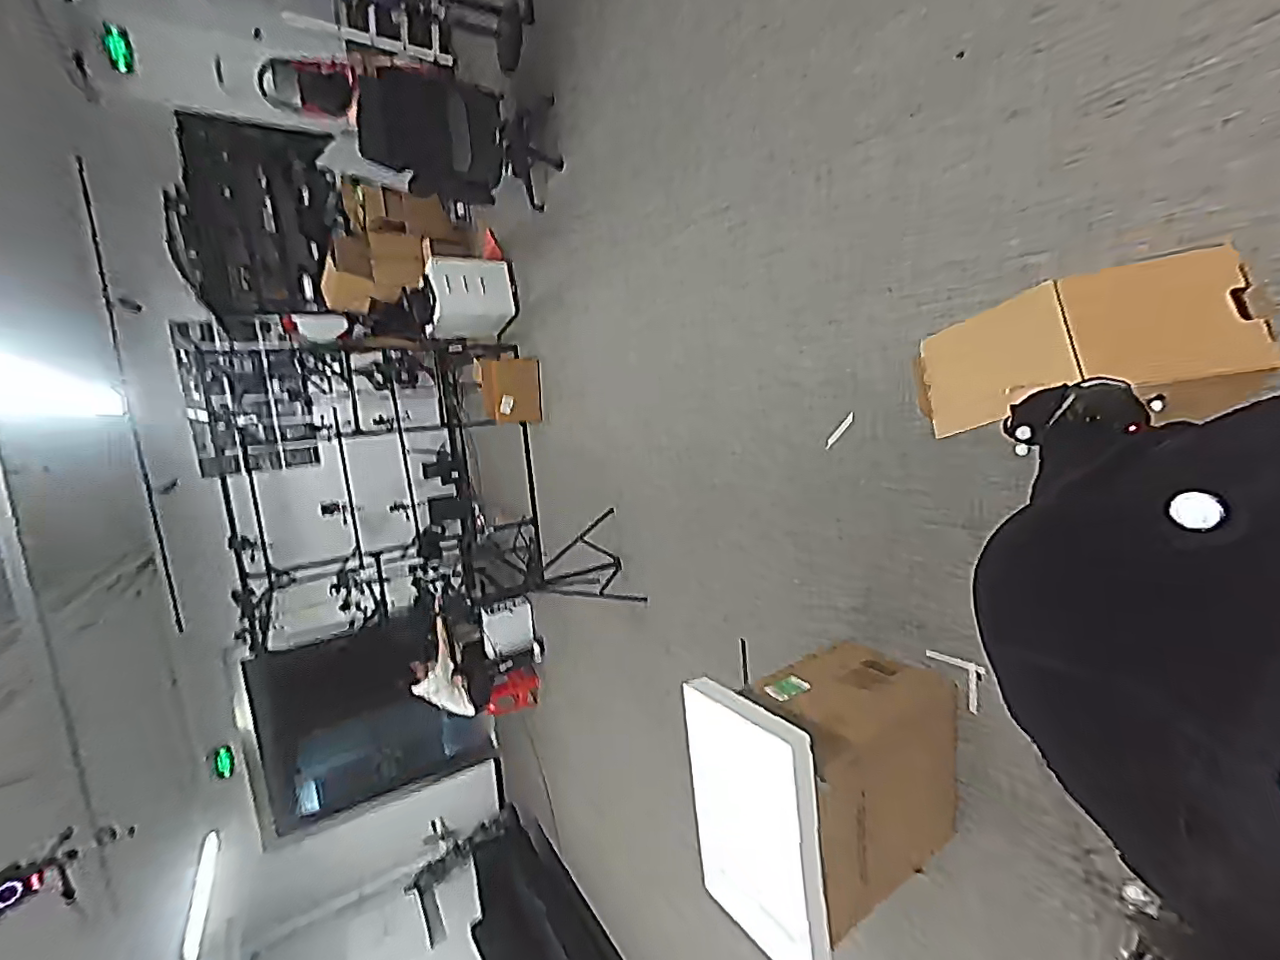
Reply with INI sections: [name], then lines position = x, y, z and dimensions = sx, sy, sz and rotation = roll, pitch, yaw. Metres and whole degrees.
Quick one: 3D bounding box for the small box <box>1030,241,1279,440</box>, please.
[small box]
position = 0.622, -0.161, 0.685
dimensions = 0.179, 0.176, 0.168
rotation = -5, 69, 21
